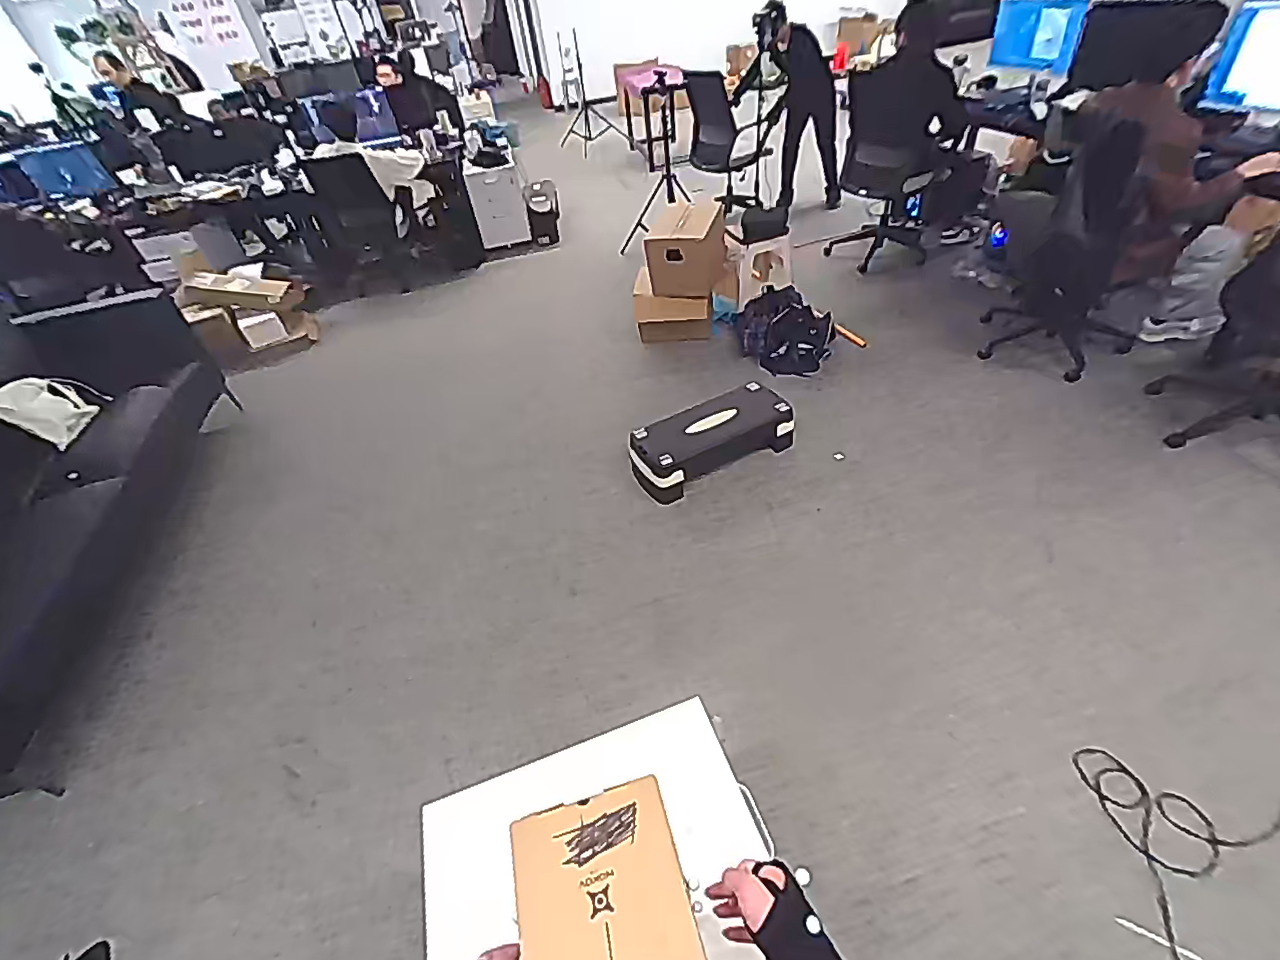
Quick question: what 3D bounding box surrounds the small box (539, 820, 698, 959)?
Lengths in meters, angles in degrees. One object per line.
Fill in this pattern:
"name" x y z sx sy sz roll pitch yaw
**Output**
"small box" -0.021 0.582 0.695 0.168 0.176 0.179 -15 41 -8
